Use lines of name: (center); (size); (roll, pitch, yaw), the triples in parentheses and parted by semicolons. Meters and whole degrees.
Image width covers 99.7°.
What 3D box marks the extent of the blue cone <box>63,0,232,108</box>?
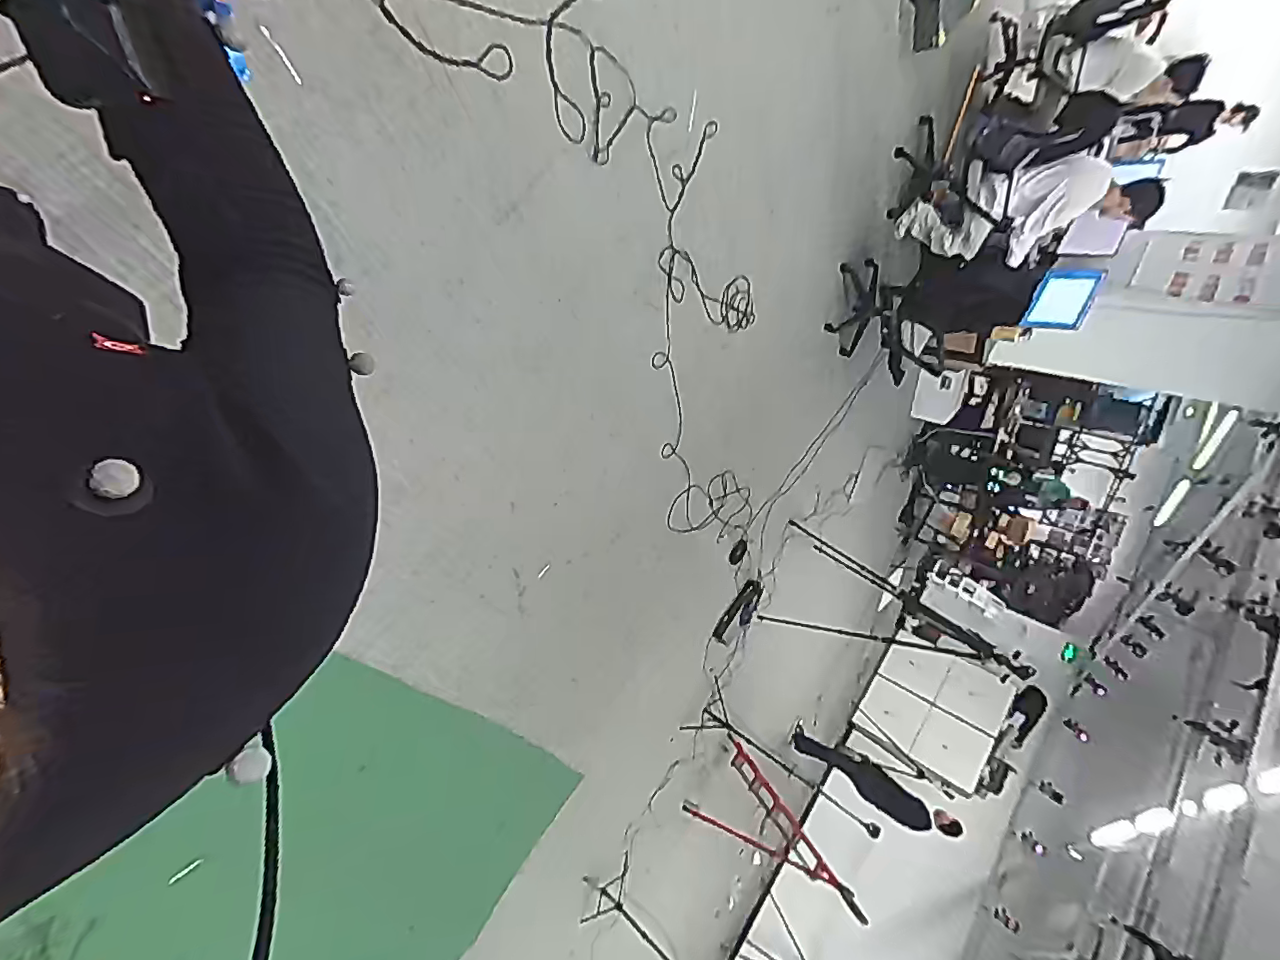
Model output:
blue cone: (-0.776, -0.768, 0.900); (0.192, 0.380, 0.193); (-45, 138, -26)
